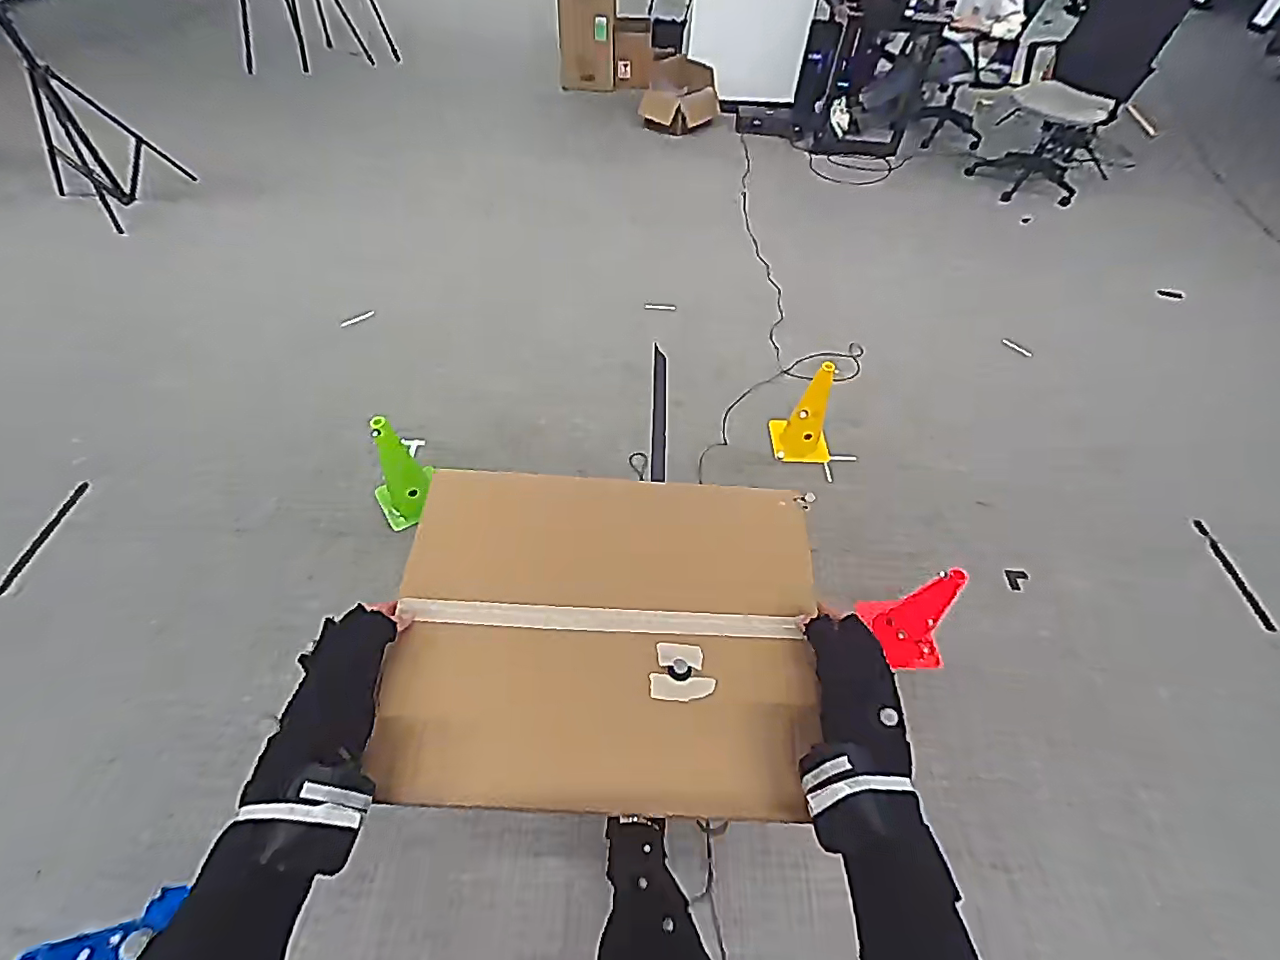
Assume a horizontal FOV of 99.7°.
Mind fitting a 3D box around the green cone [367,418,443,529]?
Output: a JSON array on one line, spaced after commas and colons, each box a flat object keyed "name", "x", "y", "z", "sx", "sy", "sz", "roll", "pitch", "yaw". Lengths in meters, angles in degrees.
[{"name": "green cone", "x": -0.729, "y": -0.053, "z": 1.629, "sx": 0.202, "sy": 0.368, "sz": 0.200, "roll": -29, "pitch": 58, "yaw": -22}]

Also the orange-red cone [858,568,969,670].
[{"name": "orange-red cone", "x": 0.742, "y": 0.332, "z": 1.404, "sx": 0.198, "sy": 0.360, "sz": 0.199, "roll": 1, "pitch": 50, "yaw": -3}]

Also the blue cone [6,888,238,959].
[{"name": "blue cone", "x": -0.914, "y": 0.827, "z": 0.942, "sx": 0.192, "sy": 0.380, "sz": 0.193, "roll": 5, "pitch": 51, "yaw": 2}]

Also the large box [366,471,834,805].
[{"name": "large box", "x": -0.036, "y": 0.208, "z": 0.655, "sx": 0.408, "sy": 0.320, "sz": 0.320, "roll": 4, "pitch": 59, "yaw": -2}]
